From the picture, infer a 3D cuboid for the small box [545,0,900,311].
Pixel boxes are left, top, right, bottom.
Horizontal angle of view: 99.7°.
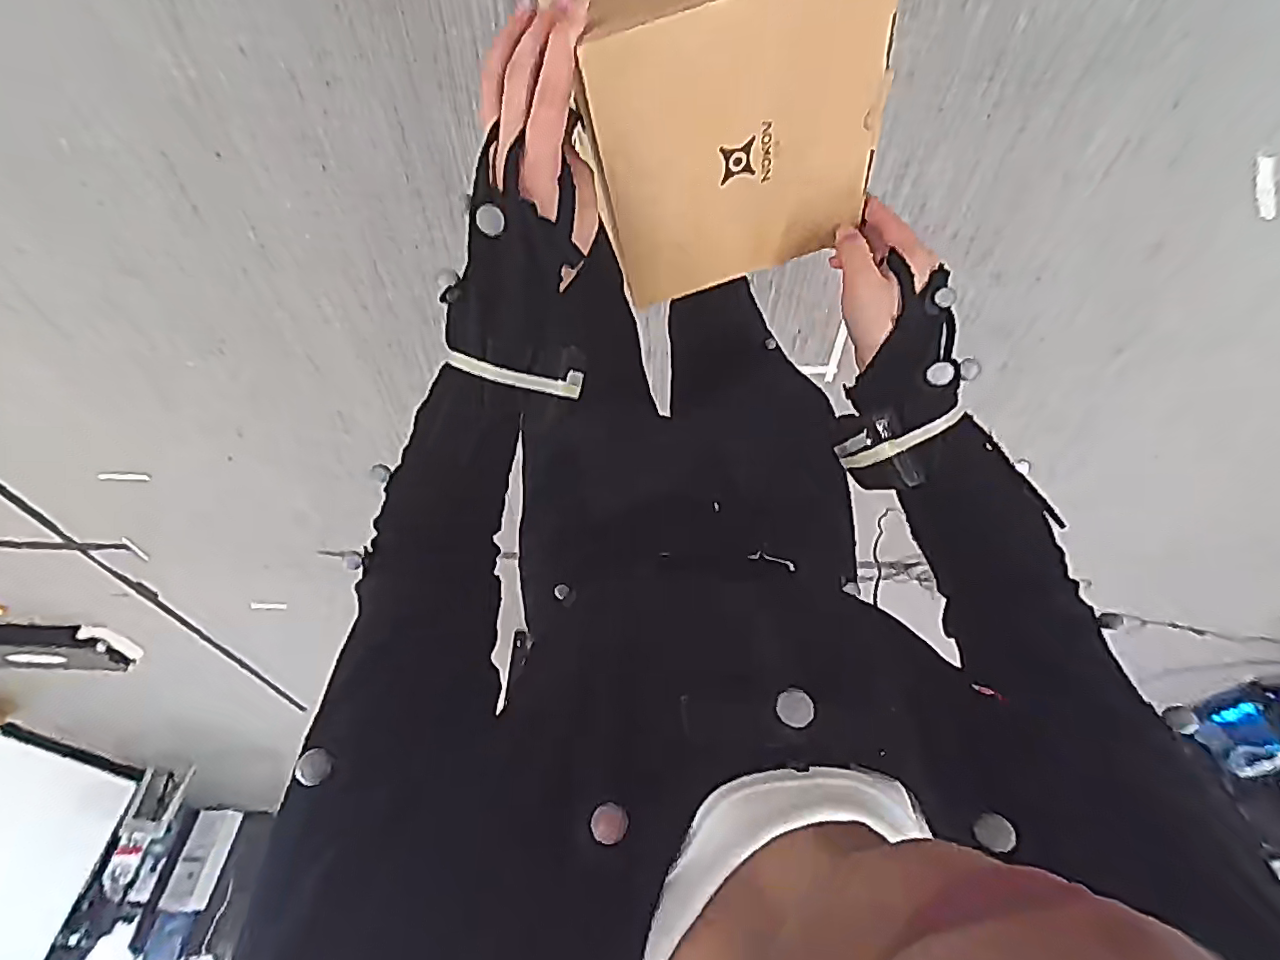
[{"bbox_3d":[0.043,-0.255,0.373,0.179,0.176,0.168,-19,145,0],"label":"small box"}]
